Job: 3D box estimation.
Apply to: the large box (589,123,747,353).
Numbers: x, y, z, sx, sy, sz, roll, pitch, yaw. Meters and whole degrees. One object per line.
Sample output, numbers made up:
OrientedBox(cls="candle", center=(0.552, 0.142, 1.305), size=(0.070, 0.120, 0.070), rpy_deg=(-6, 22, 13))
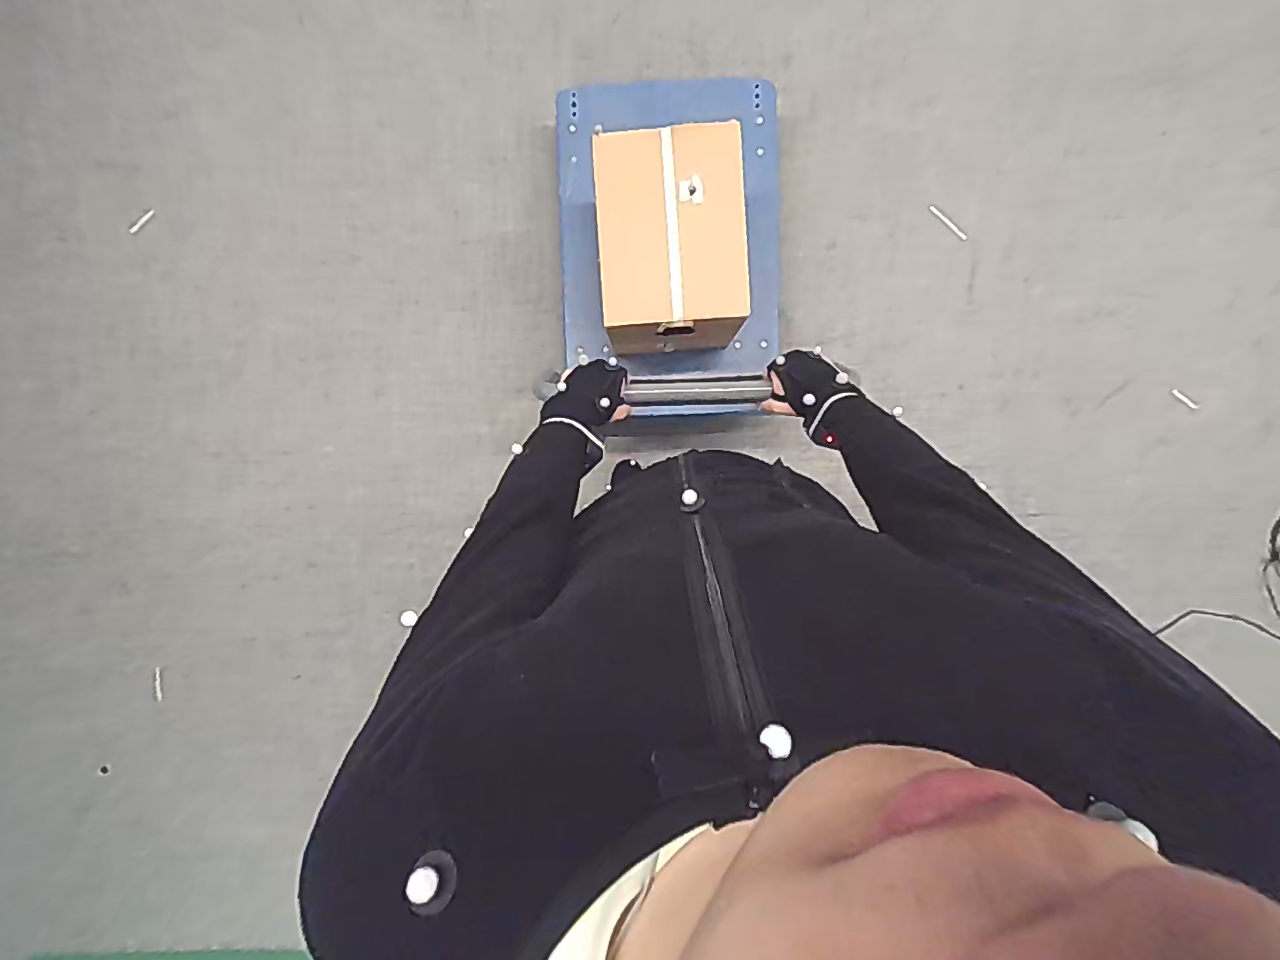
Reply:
OrientedBox(cls="large box", center=(0.065, -0.544, 1.292), size=(0.320, 0.320, 0.408), rpy_deg=(-4, 92, 1))
